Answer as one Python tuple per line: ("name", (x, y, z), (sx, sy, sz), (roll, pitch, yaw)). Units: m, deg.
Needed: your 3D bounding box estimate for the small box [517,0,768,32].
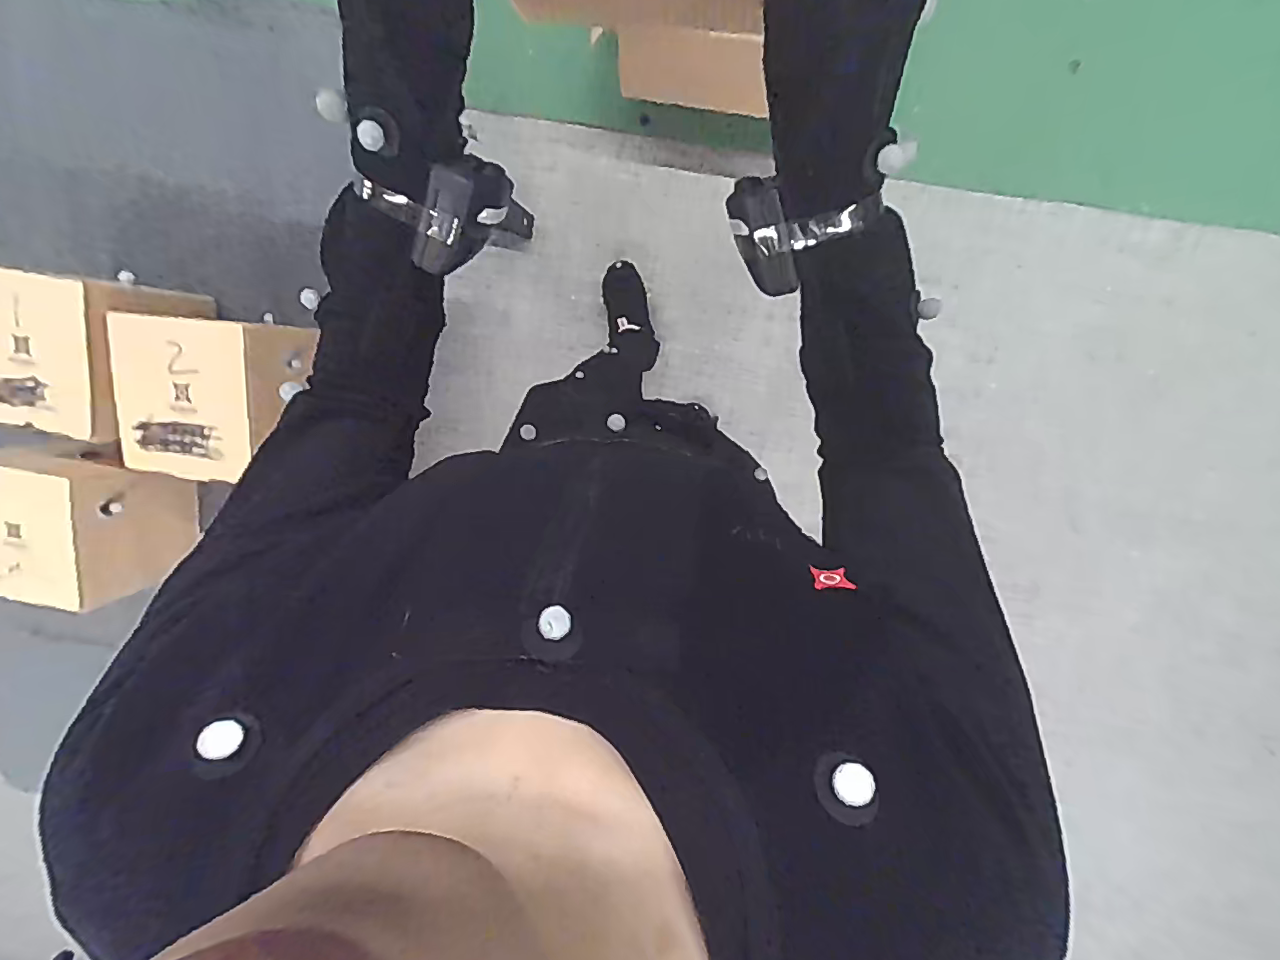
("small box", (0.003, -0.363, 0.276), (0.179, 0.176, 0.168), (5, 111, 3))
